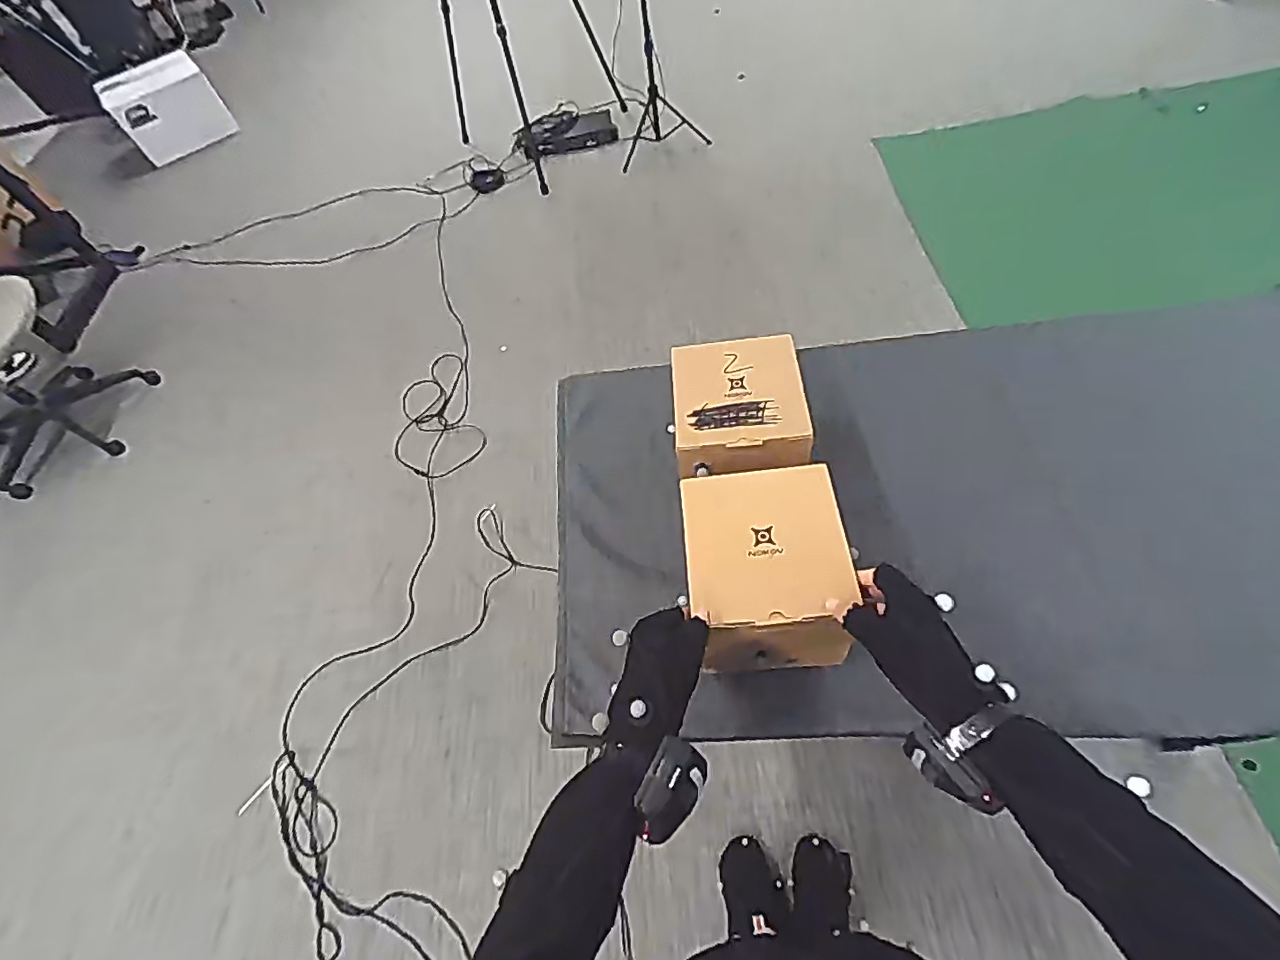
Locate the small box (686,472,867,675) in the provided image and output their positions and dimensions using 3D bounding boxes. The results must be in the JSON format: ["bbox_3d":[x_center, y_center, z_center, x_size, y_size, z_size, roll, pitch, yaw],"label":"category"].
[{"bbox_3d":[0.146,0.114,0.634,0.168,0.176,0.179,-7,56,7],"label":"small box"}]
